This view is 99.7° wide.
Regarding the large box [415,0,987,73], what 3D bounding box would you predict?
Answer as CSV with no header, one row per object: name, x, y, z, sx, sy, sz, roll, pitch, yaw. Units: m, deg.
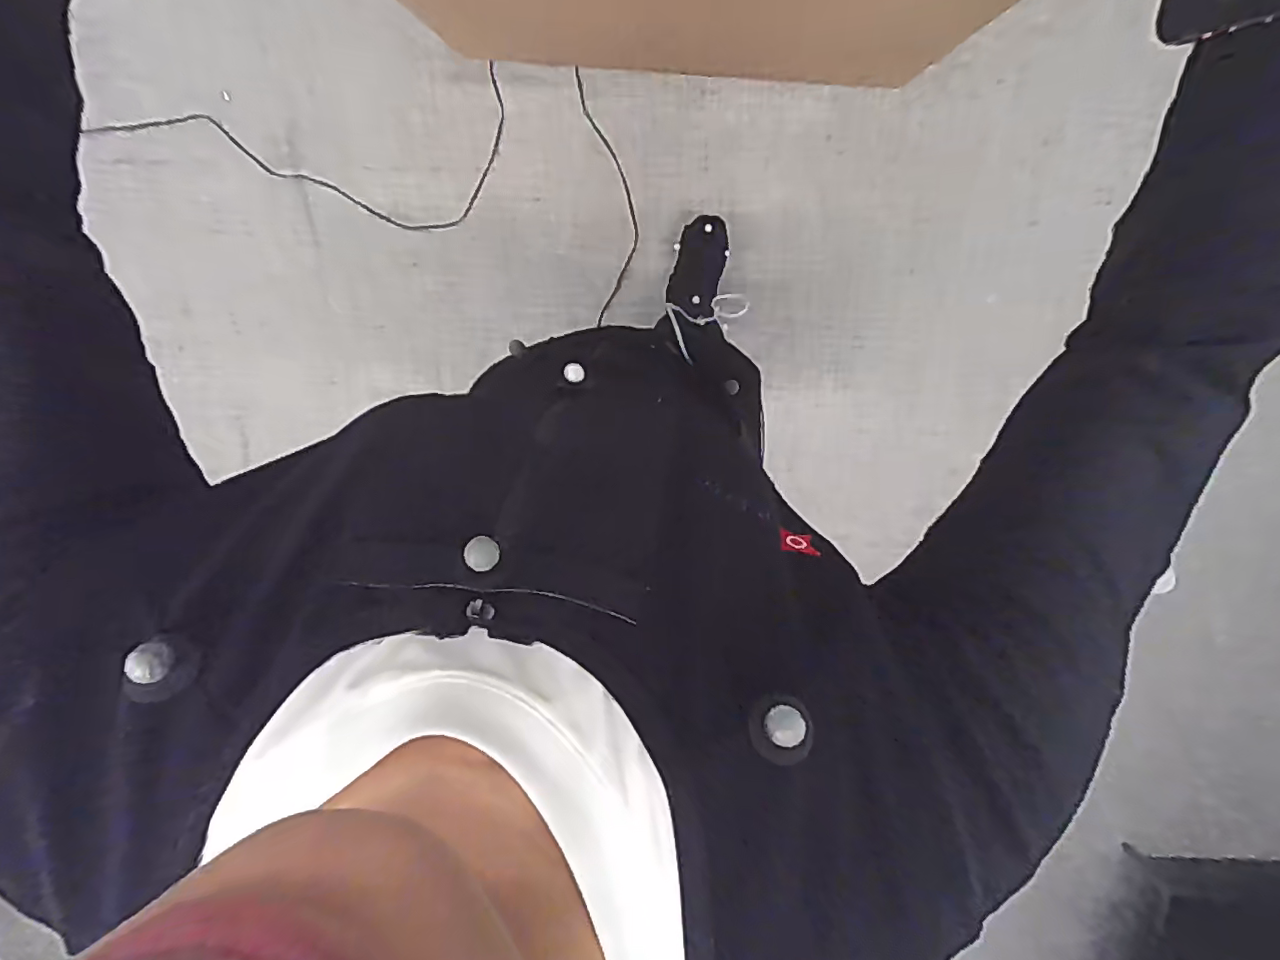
large box,0.036,-0.458,0.295,0.408,0.320,0.320,4,114,2
